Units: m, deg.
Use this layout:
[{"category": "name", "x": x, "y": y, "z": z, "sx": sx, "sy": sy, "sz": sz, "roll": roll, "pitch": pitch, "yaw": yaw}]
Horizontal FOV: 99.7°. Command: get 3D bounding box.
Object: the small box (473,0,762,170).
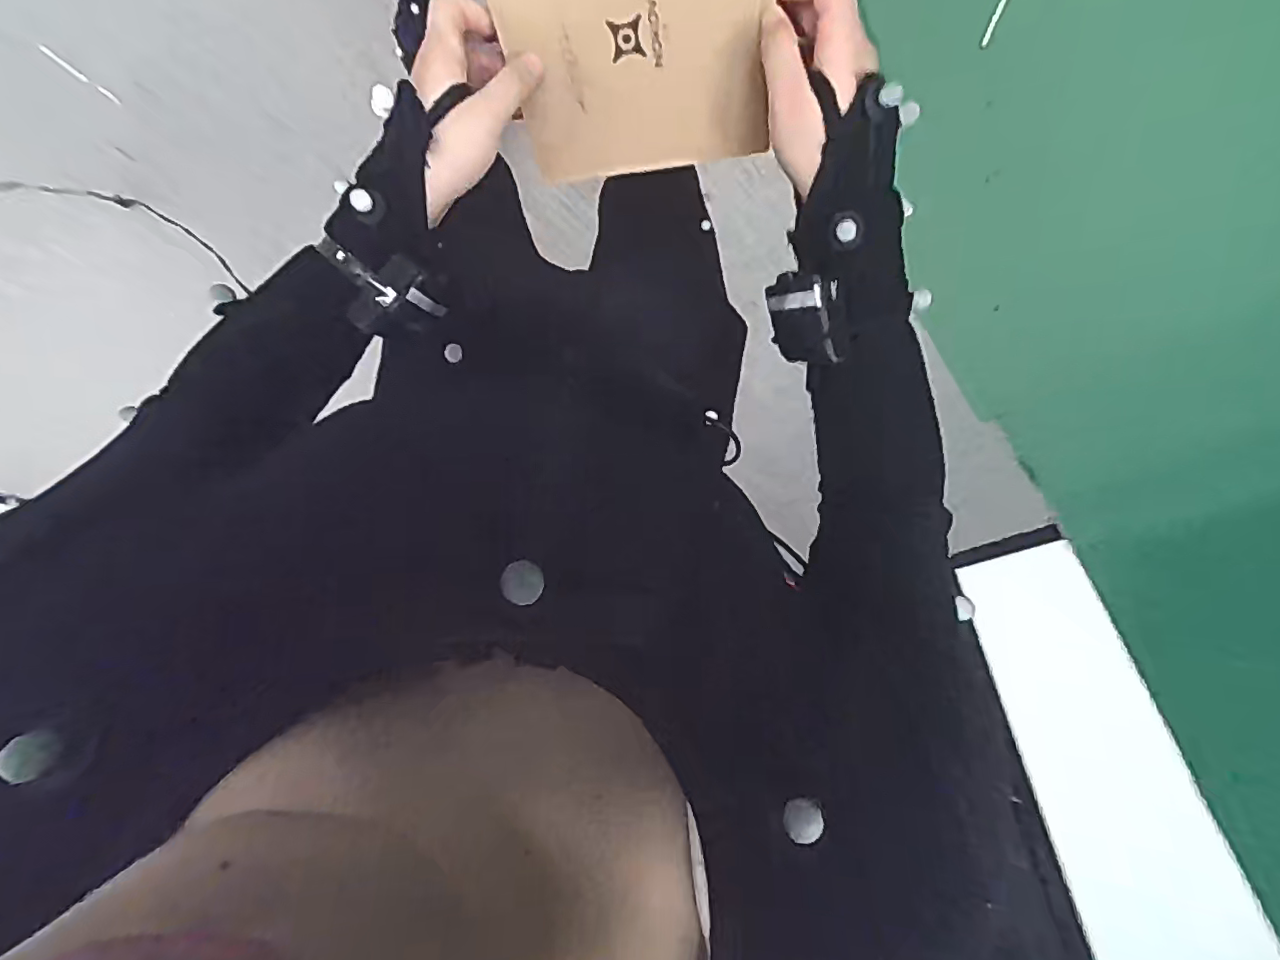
[{"category": "small box", "x": -0.009, "y": -0.357, "z": 0.382, "sx": 0.179, "sy": 0.176, "sz": 0.168, "roll": -2, "pitch": 145, "yaw": 13}]
